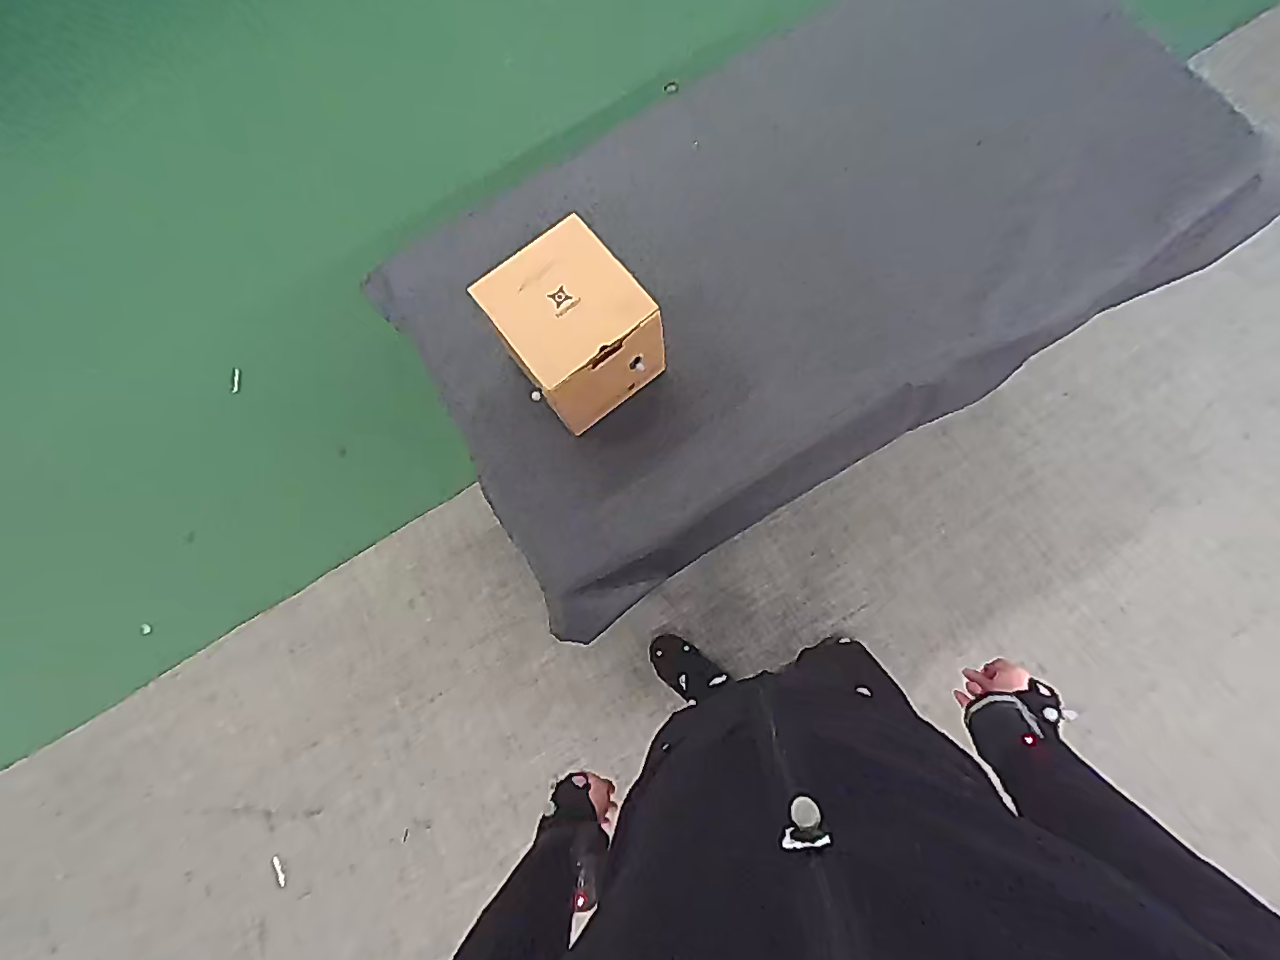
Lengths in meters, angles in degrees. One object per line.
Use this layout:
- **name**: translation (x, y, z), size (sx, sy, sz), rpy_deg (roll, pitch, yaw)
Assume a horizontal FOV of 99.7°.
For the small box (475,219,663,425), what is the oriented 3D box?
- **small box**: translation (-0.081, -0.193, 0.723), size (0.168, 0.176, 0.179), rpy_deg (-38, 76, -6)
